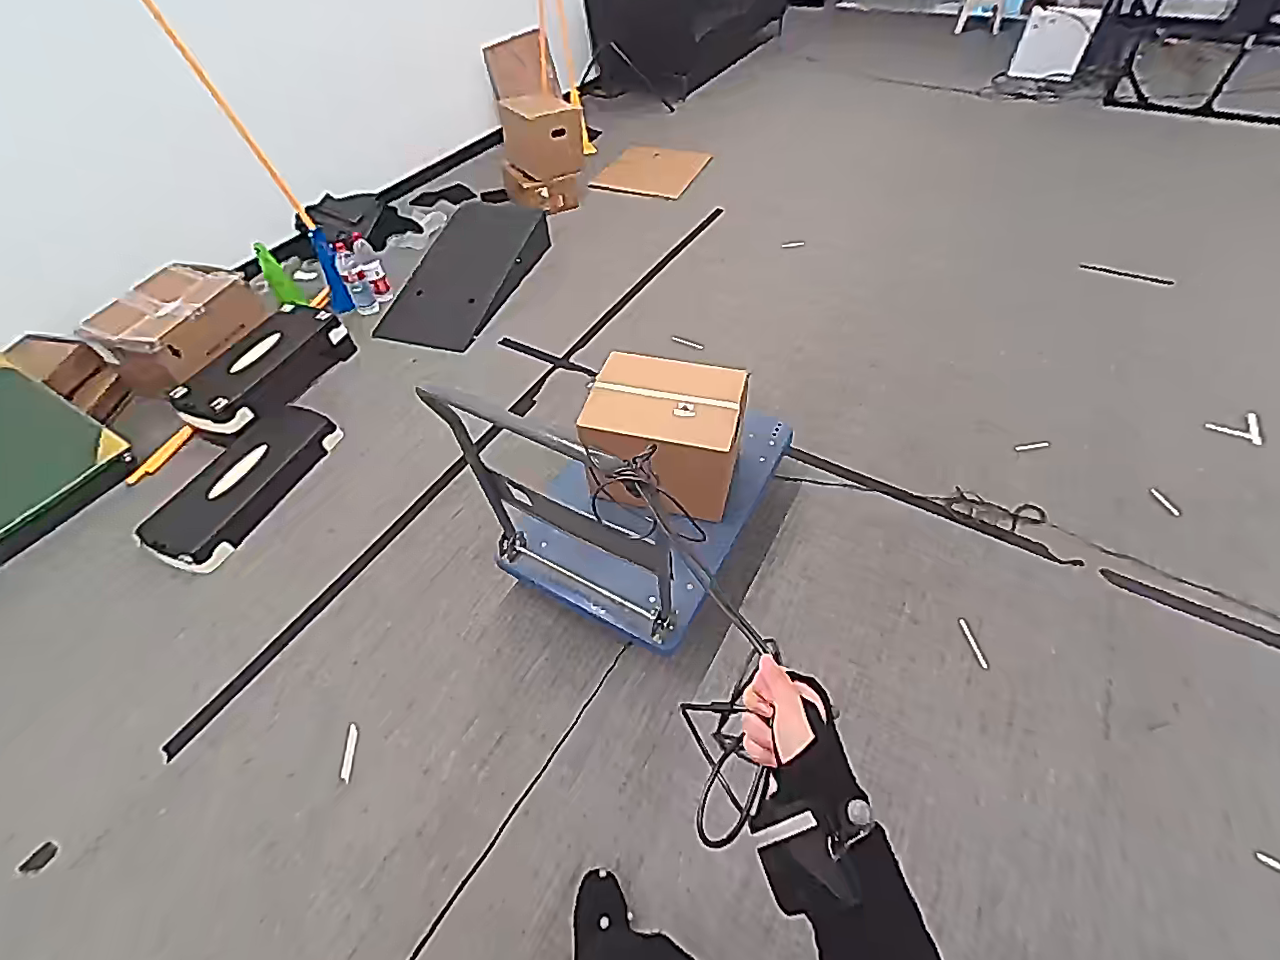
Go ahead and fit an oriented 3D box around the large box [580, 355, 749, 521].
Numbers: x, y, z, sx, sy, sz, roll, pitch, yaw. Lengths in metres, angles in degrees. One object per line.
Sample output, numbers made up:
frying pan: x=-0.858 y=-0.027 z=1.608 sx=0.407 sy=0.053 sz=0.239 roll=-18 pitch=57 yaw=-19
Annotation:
large box: x=0.075 y=-0.121 z=1.562 sx=0.408 sy=0.320 sz=0.320 roll=12 pitch=53 yaw=11
